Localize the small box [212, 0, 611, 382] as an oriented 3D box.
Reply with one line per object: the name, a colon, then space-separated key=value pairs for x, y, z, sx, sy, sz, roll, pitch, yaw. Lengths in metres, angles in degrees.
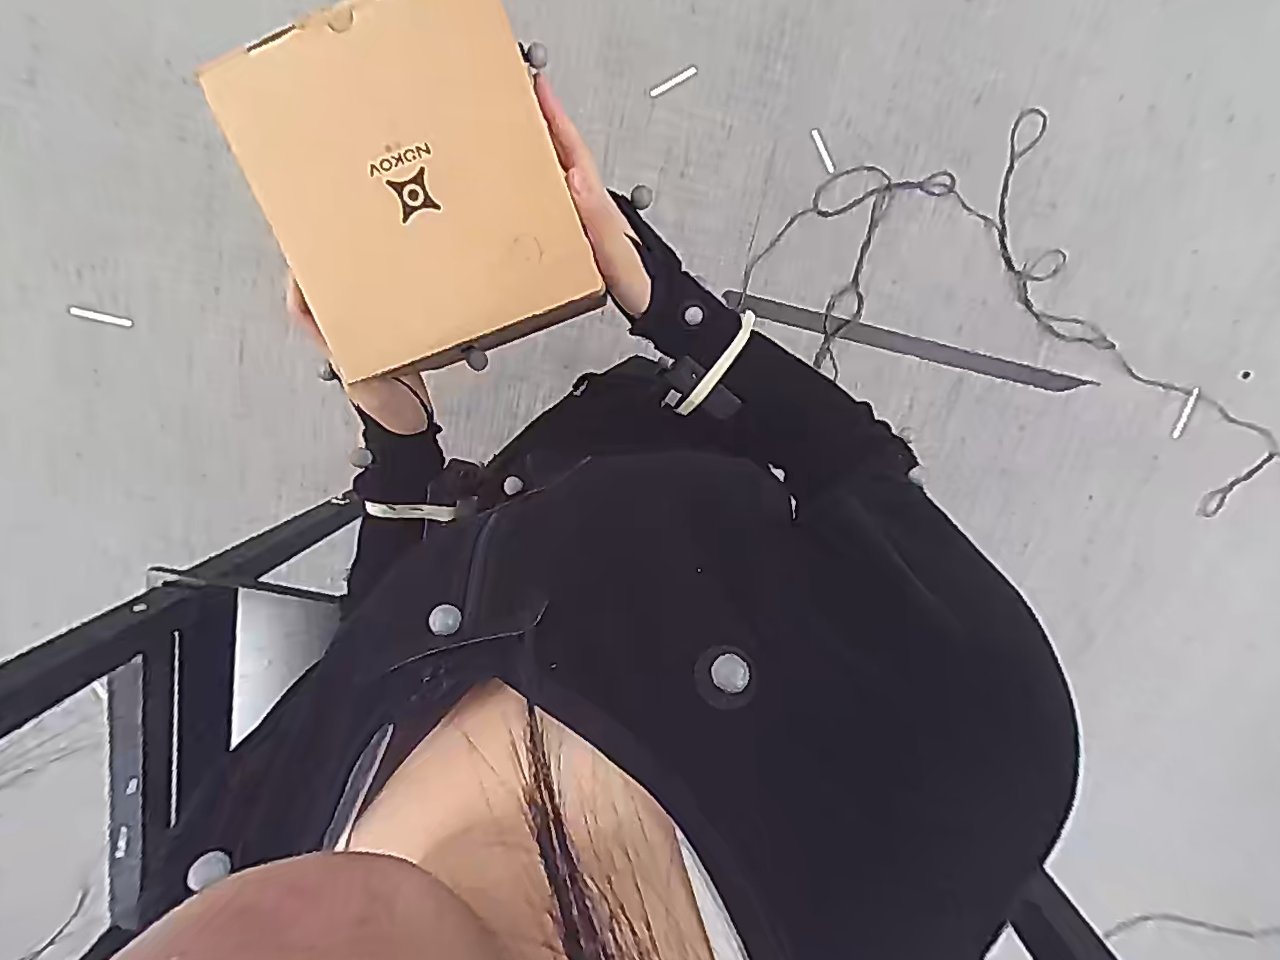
small box: x=-0.123 y=-0.183 z=0.376 sx=0.168 sy=0.176 sz=0.179 roll=-20 pitch=104 yaw=3
